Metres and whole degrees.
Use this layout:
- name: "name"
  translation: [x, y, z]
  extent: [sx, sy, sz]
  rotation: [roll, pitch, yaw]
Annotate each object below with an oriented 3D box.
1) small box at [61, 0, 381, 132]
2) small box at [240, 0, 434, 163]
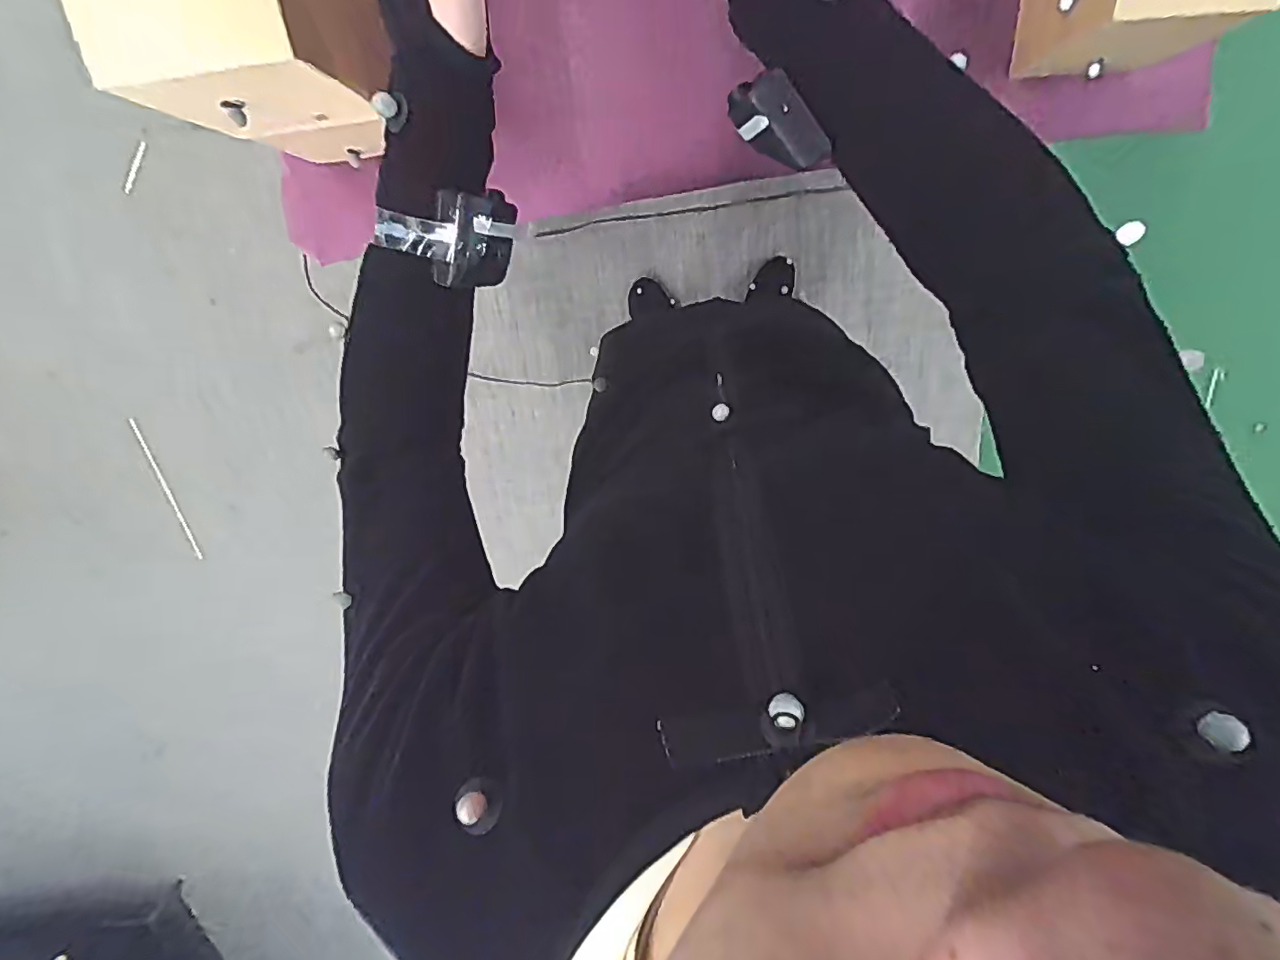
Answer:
- name: "small box"
  translation: [-0.356, -0.424, 0.469]
  extent: [0.168, 0.176, 0.179]
  rotation: [-6, 109, 4]
- name: "small box"
  translation: [-0.360, -0.488, 0.618]
  extent: [0.168, 0.176, 0.179]
  rotation: [-7, 111, 3]
